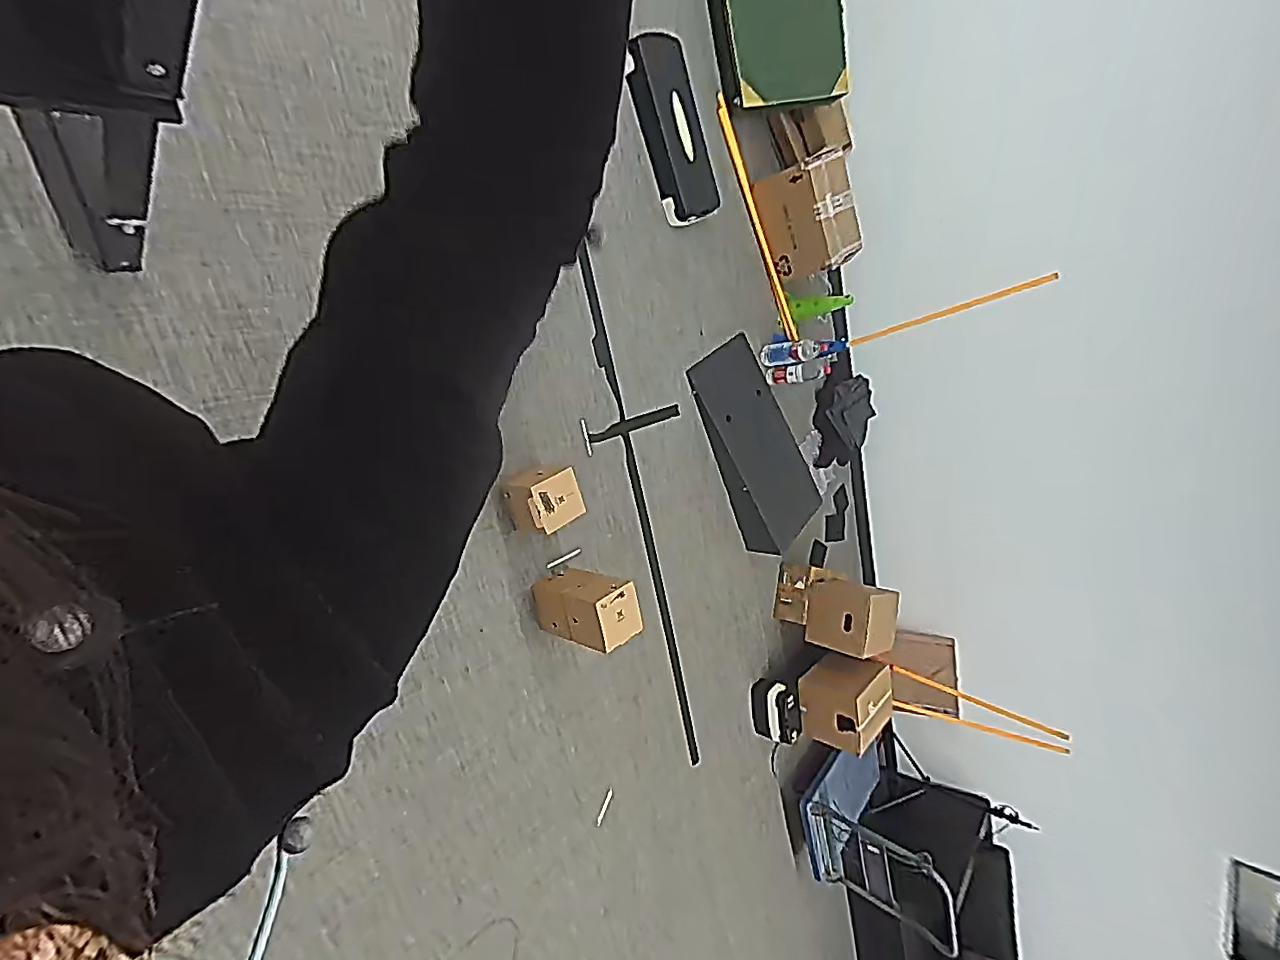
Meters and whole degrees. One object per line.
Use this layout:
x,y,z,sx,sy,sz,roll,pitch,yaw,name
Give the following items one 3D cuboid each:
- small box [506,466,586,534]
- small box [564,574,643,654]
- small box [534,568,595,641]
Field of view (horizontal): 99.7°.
-0.310,0.061,1.744,0.179,0.176,0.168,-32,113,-41,small box
-0.117,0.420,1.723,0.168,0.176,0.179,-23,108,-43,small box
-0.235,0.418,1.837,0.168,0.176,0.179,-21,106,-43,small box
